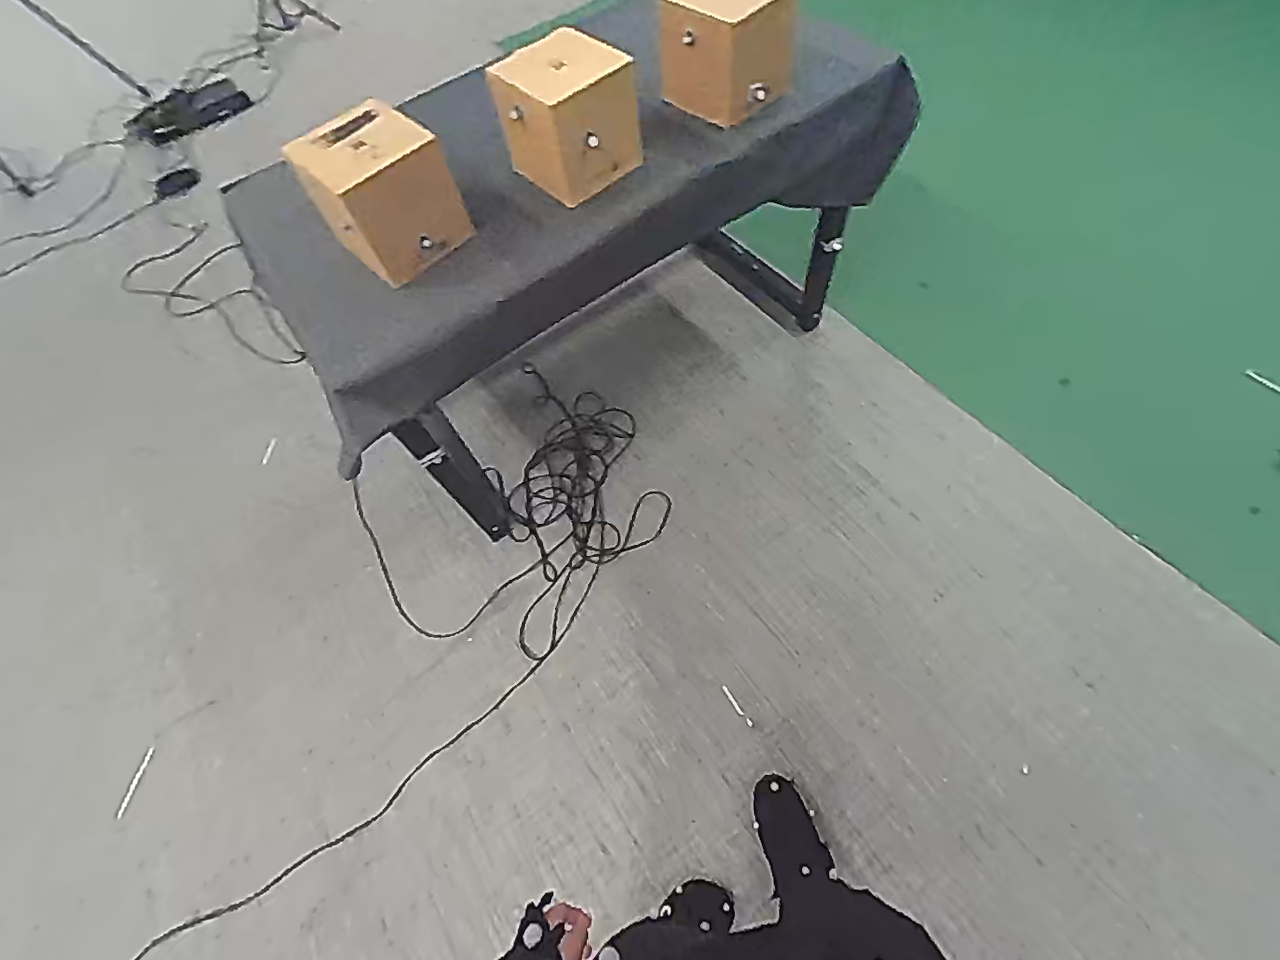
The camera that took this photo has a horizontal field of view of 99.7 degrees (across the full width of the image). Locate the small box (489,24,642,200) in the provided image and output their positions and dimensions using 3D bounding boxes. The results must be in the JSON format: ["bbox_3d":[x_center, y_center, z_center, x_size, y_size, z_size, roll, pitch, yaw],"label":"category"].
[{"bbox_3d":[-0.113,-0.604,0.900,0.168,0.176,0.179,-39,65,-14],"label":"small box"}]

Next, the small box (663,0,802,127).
[{"bbox_3d":[0.159,-0.772,0.962,0.168,0.176,0.179,-41,67,-14],"label":"small box"}]
